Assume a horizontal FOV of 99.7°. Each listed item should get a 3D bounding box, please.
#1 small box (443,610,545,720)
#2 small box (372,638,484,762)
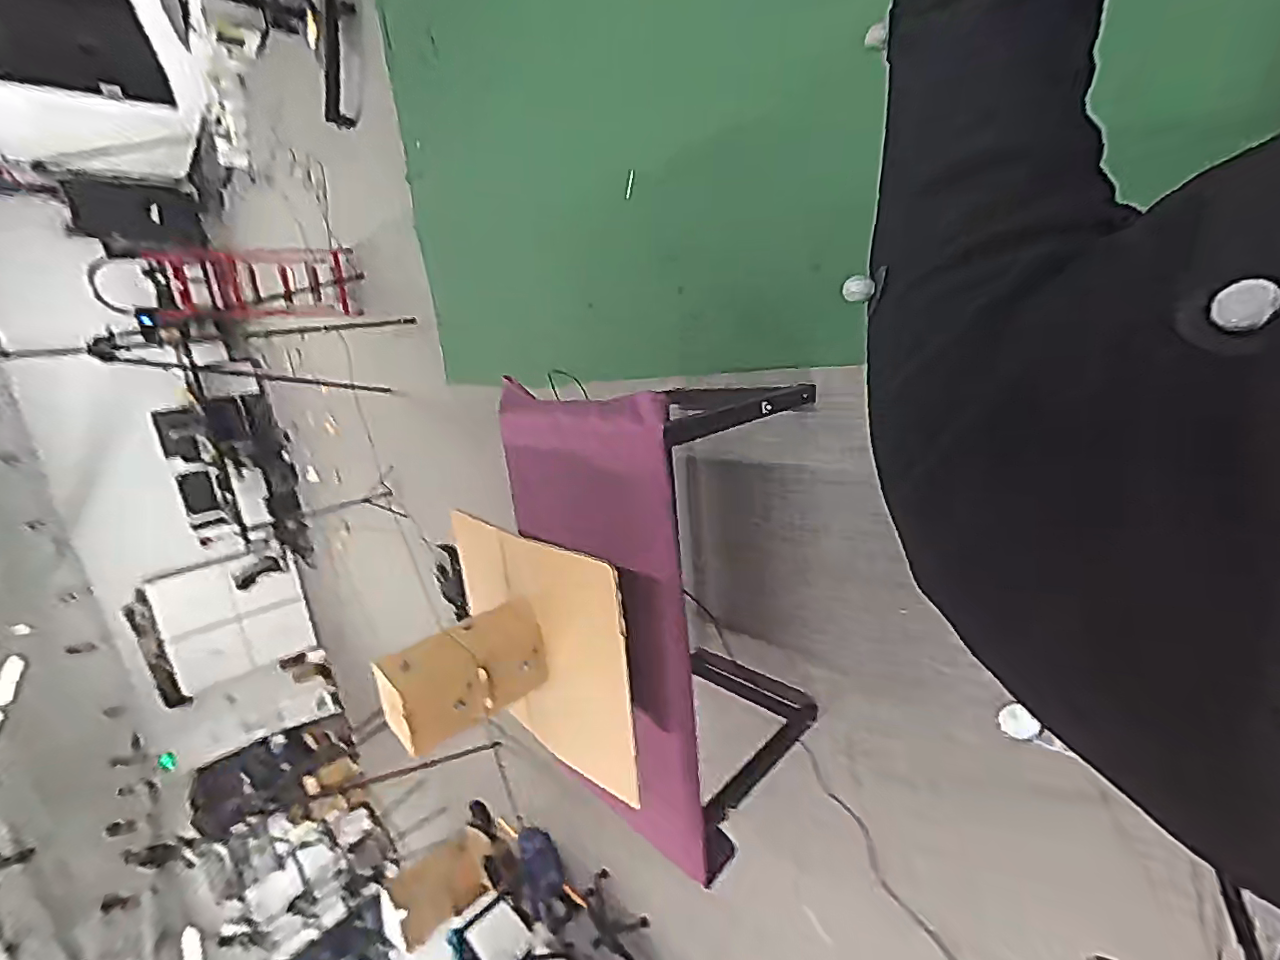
[{"bbox_3d":[-0.351,0.435,1.309,0.179,0.176,0.168,12,114,46],"label":"small box"},{"bbox_3d":[-0.470,0.476,1.205,0.179,0.176,0.168,10,111,46],"label":"small box"}]
